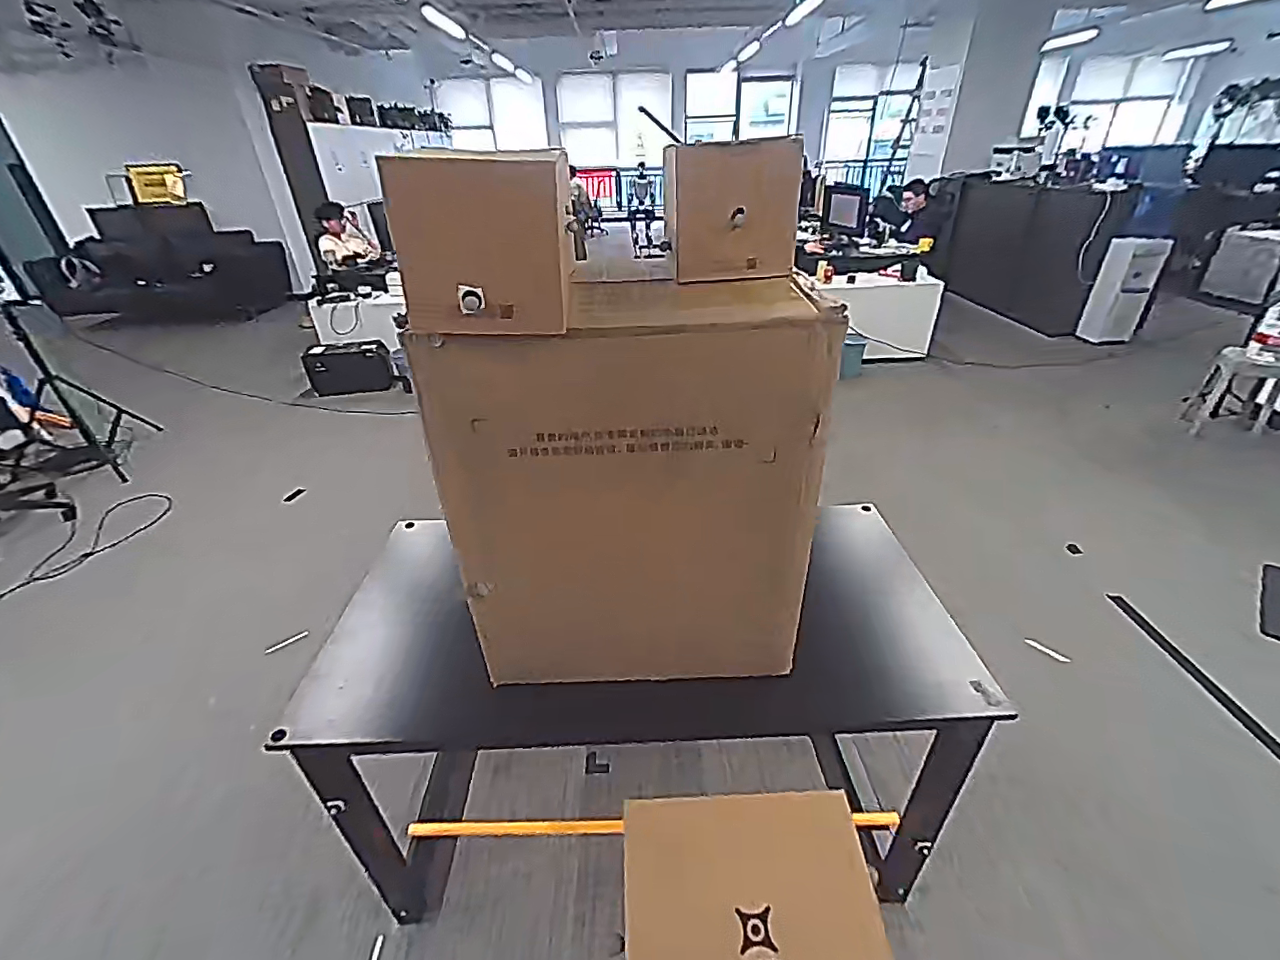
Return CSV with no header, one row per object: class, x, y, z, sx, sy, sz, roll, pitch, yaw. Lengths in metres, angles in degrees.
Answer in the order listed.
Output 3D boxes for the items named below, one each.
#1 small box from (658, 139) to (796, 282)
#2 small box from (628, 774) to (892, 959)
small box,0.119,-0.390,0.788,0.168,0.176,0.179,-5,31,-1
small box,0.076,0.345,0.400,0.168,0.176,0.179,-4,41,1
